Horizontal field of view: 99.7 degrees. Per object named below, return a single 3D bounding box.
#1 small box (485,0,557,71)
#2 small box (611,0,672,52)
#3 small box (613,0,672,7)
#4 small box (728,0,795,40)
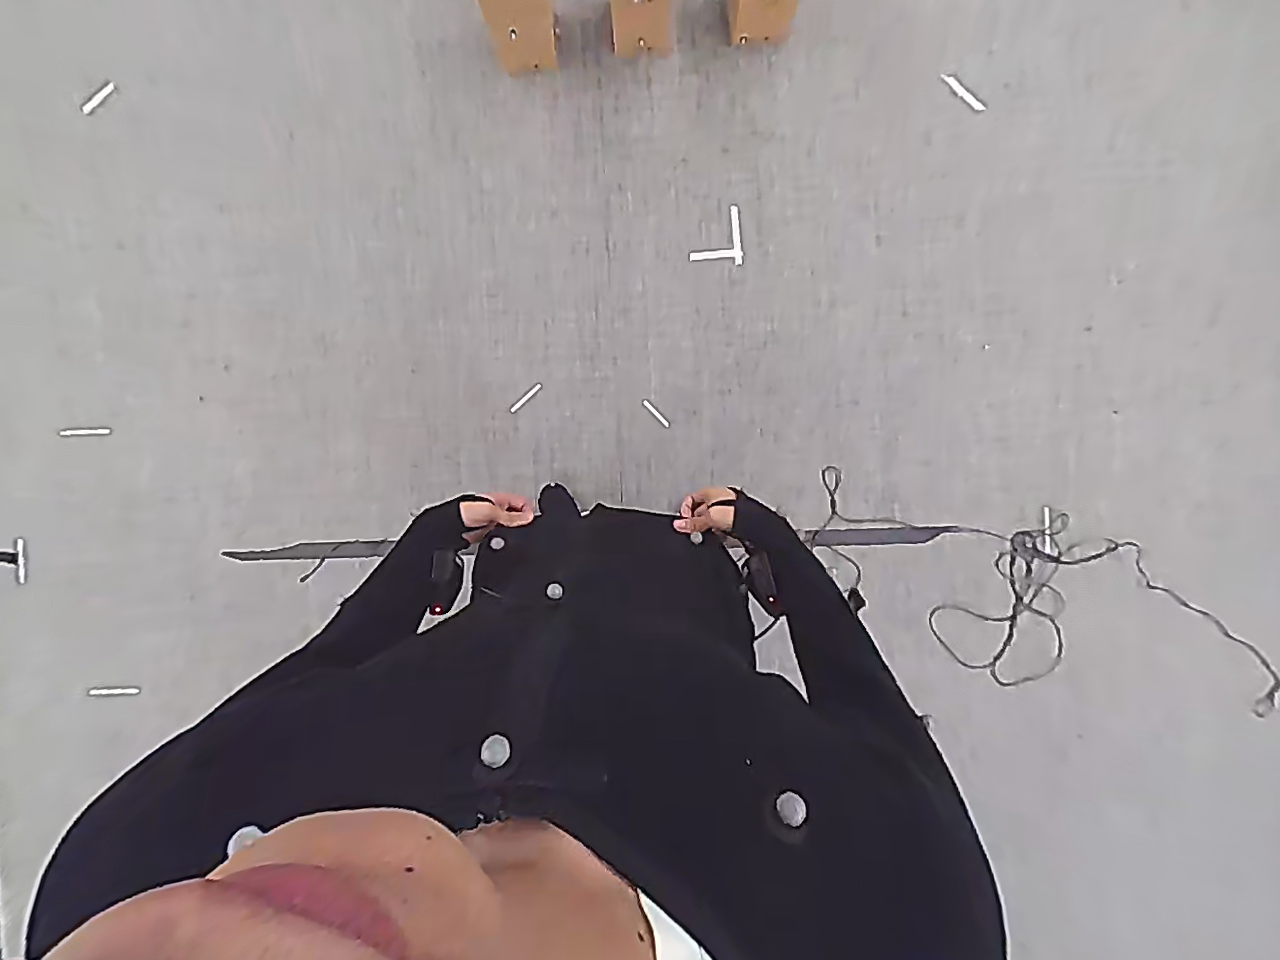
[{"bbox_3d":[-0.333,-1.305,1.523,0.168,0.176,0.179,-3,90,1],"label":"small box"},{"bbox_3d":[0.002,-1.352,1.517,0.168,0.176,0.179,-2,91,1],"label":"small box"},{"bbox_3d":[0.002,-1.344,1.353,0.168,0.176,0.179,-2,91,1],"label":"small box"},{"bbox_3d":[0.341,-1.379,1.514,0.168,0.176,0.179,-5,90,0],"label":"small box"}]
